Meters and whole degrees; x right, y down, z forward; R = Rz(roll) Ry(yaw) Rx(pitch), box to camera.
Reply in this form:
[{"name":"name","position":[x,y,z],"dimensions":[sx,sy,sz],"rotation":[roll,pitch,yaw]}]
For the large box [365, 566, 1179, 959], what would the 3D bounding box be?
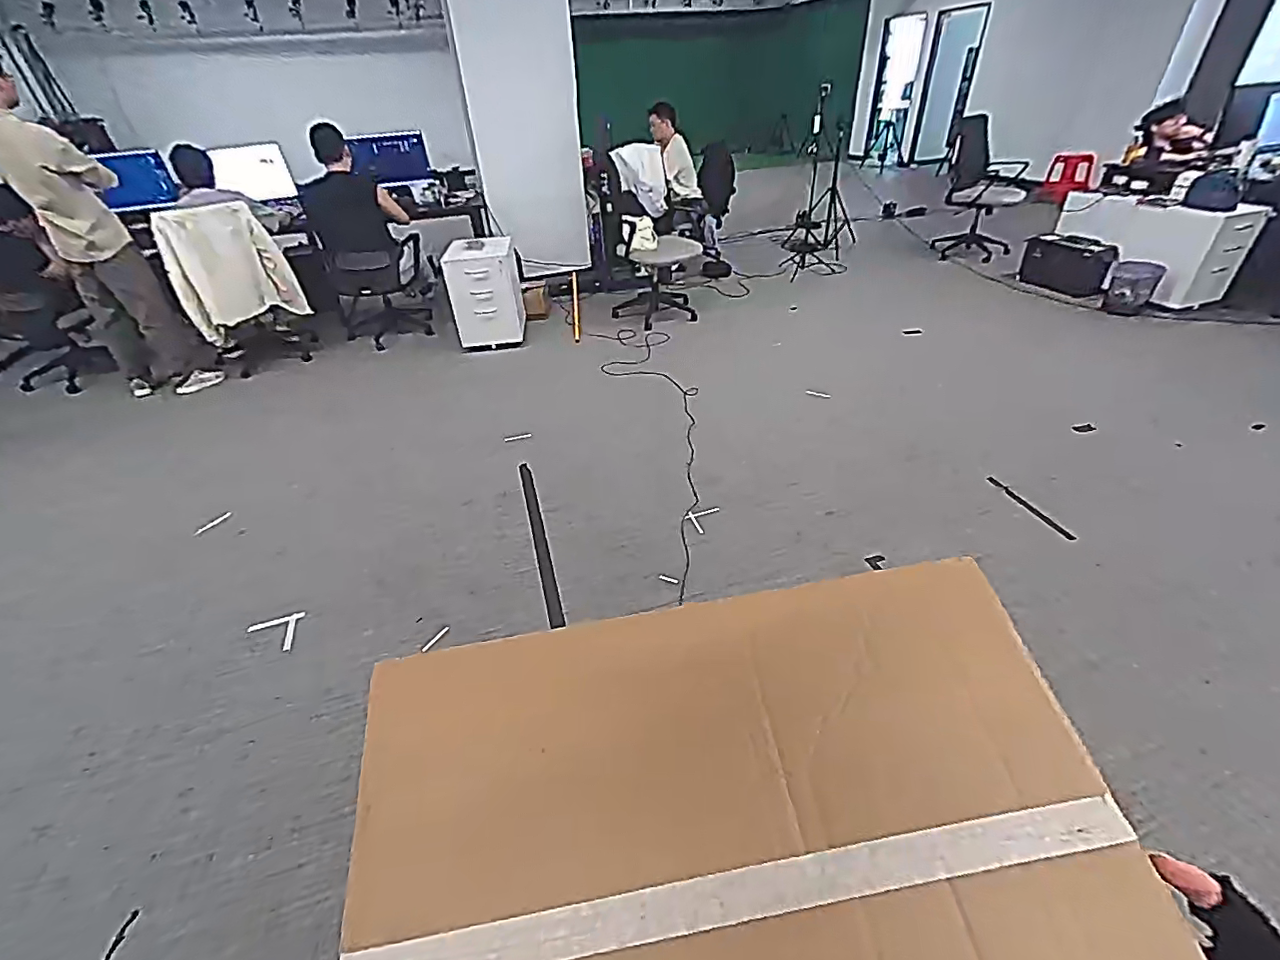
[{"name":"large box","position":[0.061,0.303,0.404],"dimensions":[0.408,0.320,0.320],"rotation":[-10,56,-3]}]
